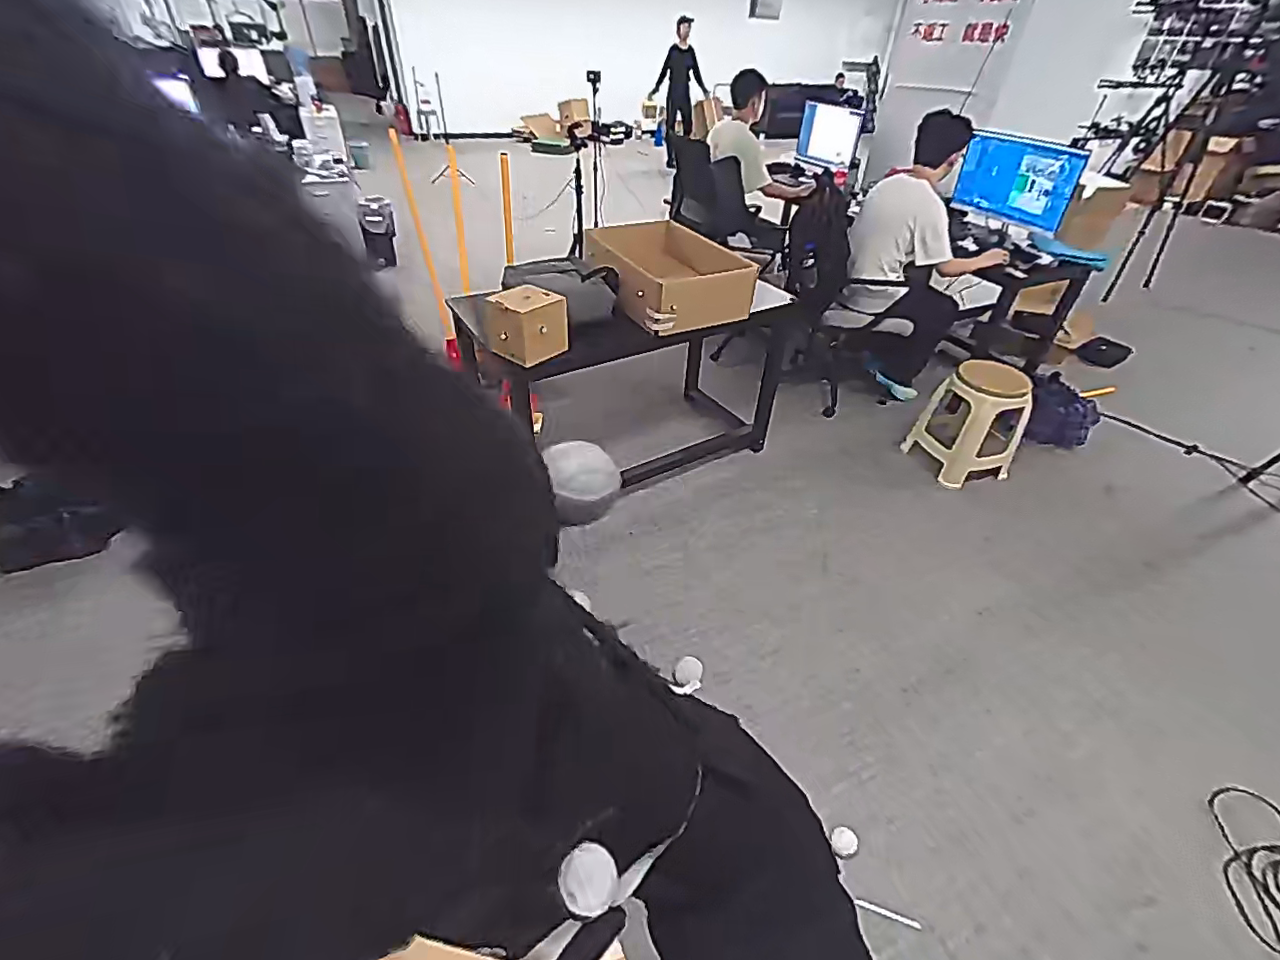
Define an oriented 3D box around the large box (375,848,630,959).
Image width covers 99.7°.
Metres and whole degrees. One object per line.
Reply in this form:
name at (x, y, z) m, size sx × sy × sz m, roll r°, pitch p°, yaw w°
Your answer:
large box at (-0.215, 0.961, 0.966) m, size 0.408 × 0.320 × 0.320 m, roll -14°, pitch 42°, yaw -18°
